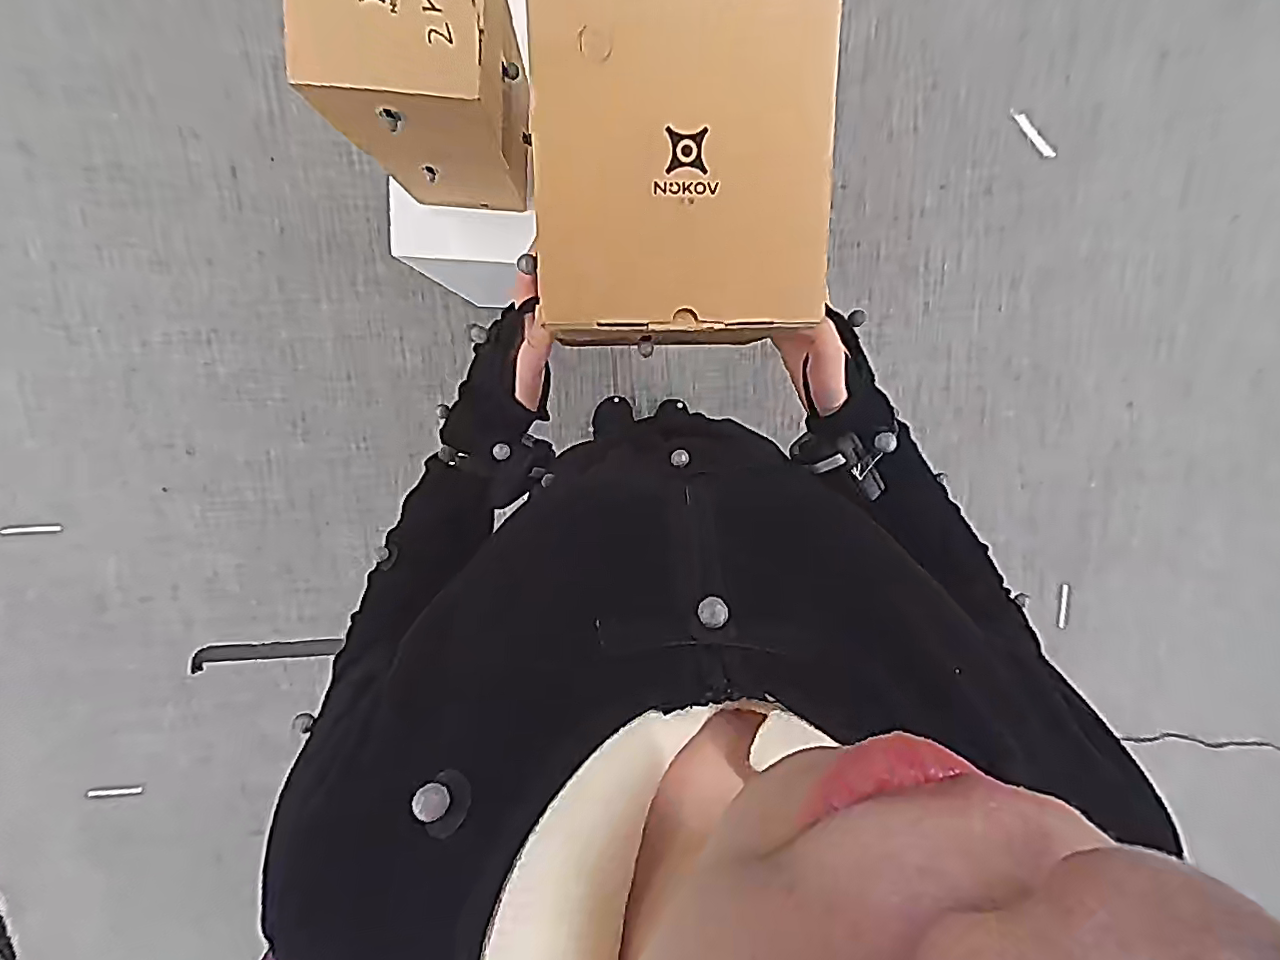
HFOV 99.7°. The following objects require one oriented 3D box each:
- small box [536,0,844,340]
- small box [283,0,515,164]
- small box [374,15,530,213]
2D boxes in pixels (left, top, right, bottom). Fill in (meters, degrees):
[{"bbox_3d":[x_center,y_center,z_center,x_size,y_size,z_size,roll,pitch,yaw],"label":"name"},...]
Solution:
[{"bbox_3d":[0.020,-0.191,0.370,0.168,0.176,0.179,-2,102,-5],"label":"small box"},{"bbox_3d":[-0.234,-0.450,0.559,0.179,0.176,0.168,3,101,-4],"label":"small box"},{"bbox_3d":[-0.242,-0.483,0.721,0.168,0.176,0.179,3,99,-3],"label":"small box"}]
